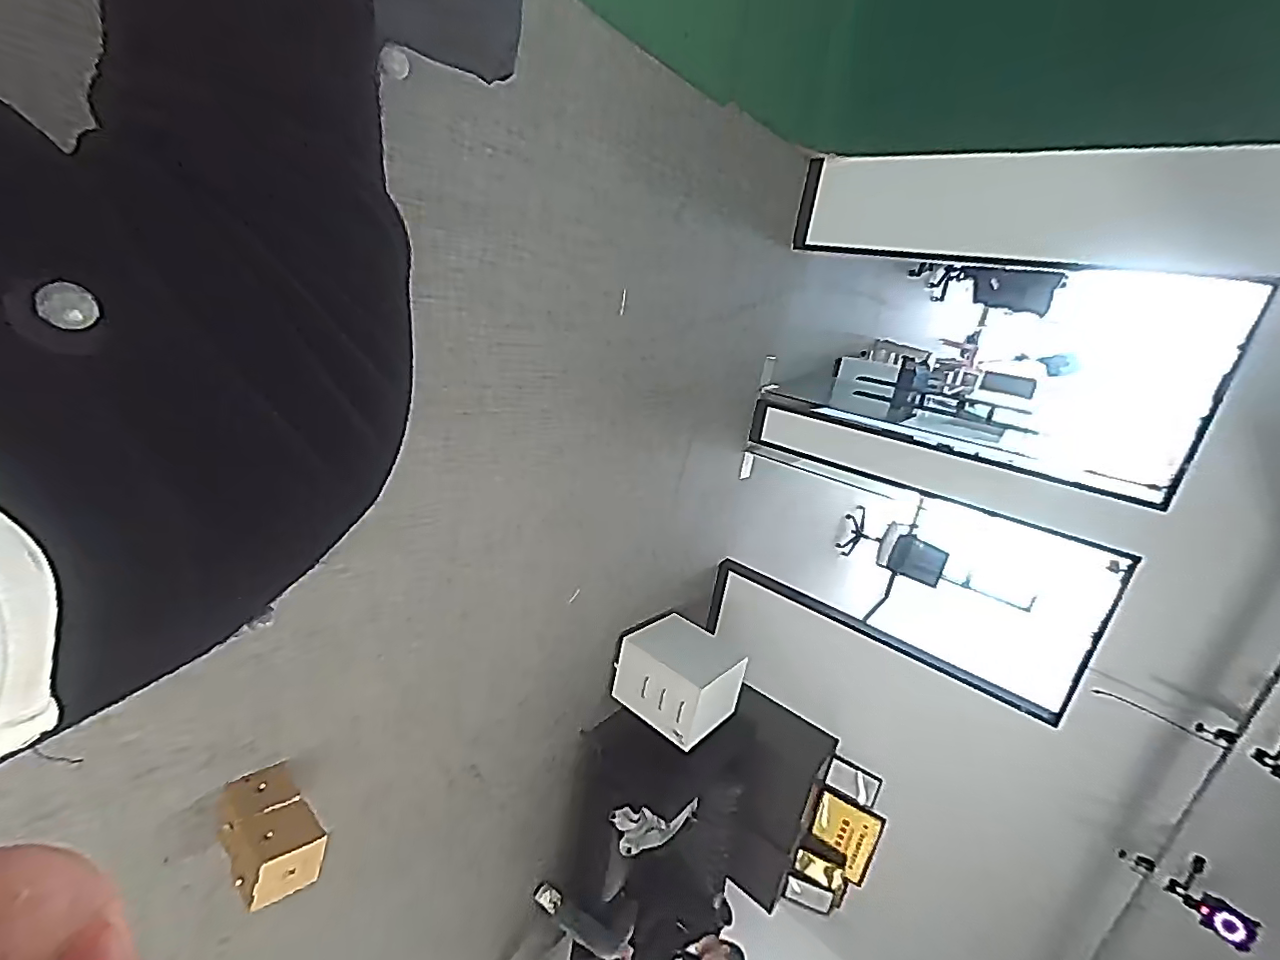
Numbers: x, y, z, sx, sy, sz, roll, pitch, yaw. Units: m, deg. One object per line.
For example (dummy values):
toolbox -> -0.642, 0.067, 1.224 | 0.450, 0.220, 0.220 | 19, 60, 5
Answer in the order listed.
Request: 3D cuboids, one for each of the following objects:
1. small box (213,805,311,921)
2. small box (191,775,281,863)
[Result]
small box -> -1.086, 1.085, 1.548 | 0.179, 0.176, 0.168 | 6, 106, -56
small box -> -1.204, 1.041, 1.639 | 0.179, 0.176, 0.168 | -39, 138, -37
